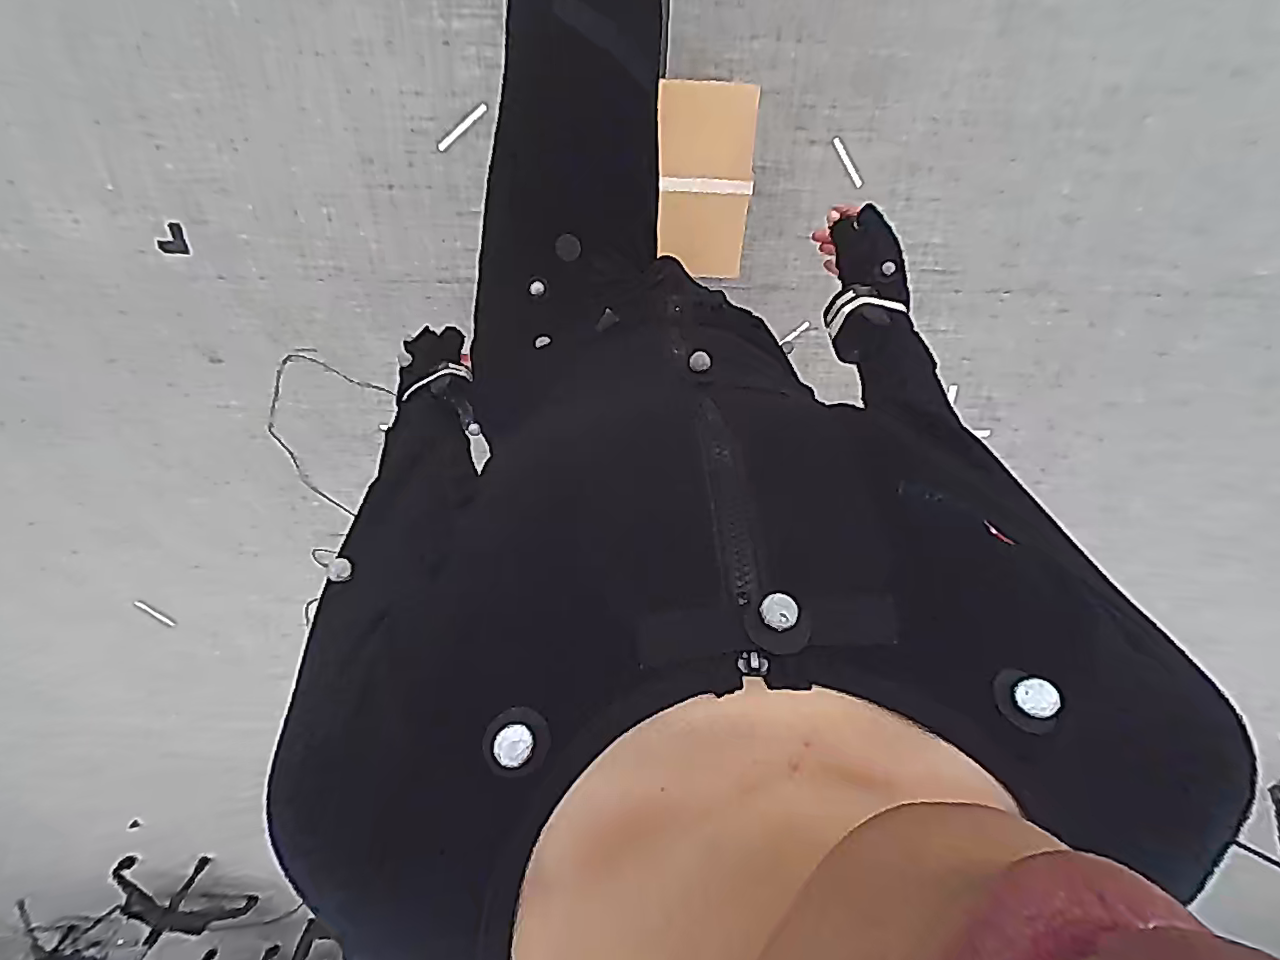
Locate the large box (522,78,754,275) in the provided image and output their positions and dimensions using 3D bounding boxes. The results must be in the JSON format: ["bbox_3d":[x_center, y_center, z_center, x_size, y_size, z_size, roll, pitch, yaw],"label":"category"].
[{"bbox_3d":[-0.004,-0.613,1.114,0.408,0.320,0.320,2,118,-1],"label":"large box"}]
